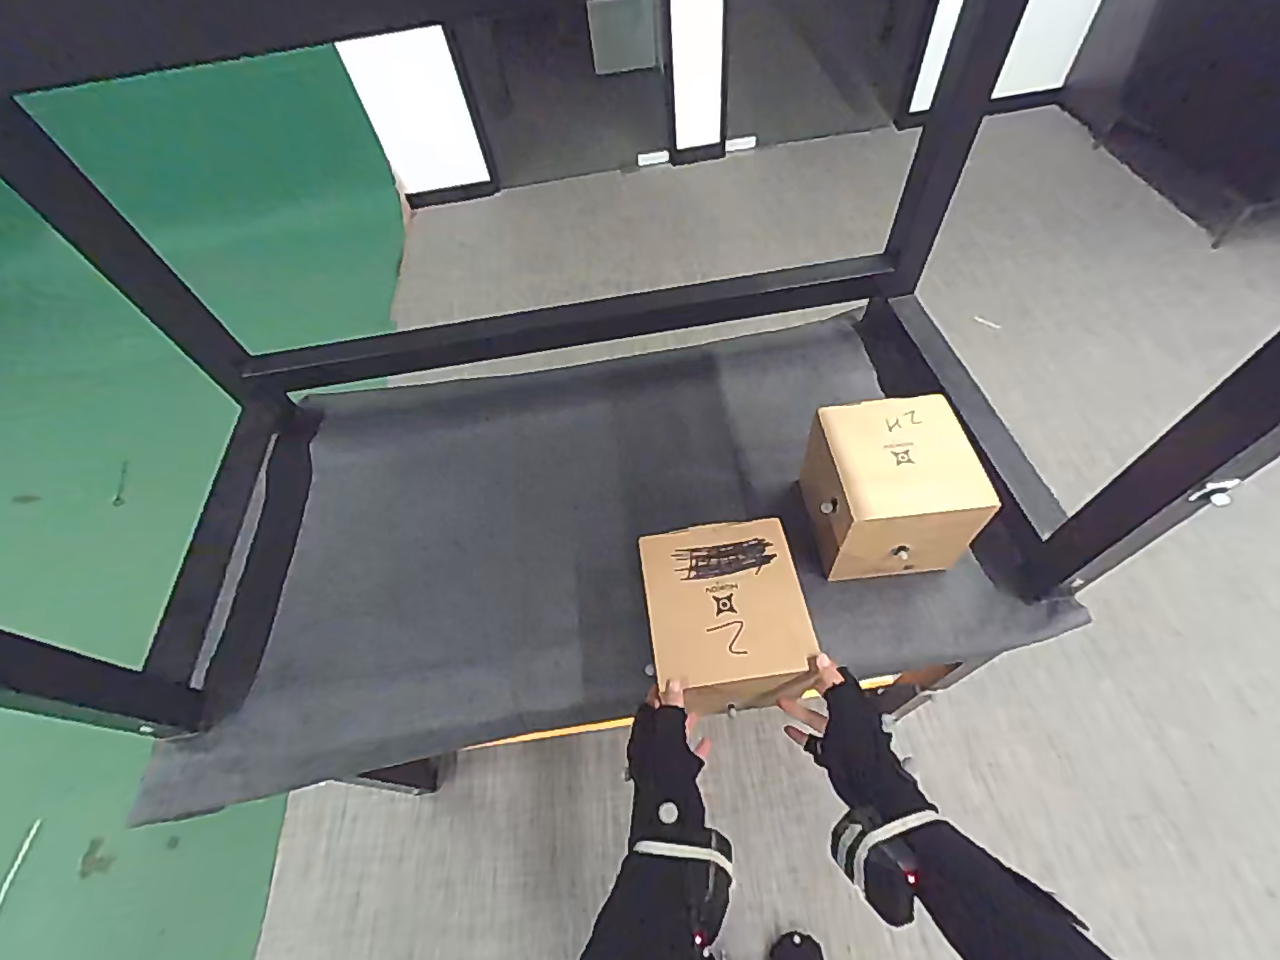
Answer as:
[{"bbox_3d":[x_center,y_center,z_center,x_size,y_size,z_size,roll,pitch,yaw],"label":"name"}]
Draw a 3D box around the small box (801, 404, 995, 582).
[{"bbox_3d":[0.323,0.026,0.721,0.168,0.176,0.179,-6,54,3],"label":"small box"}]
